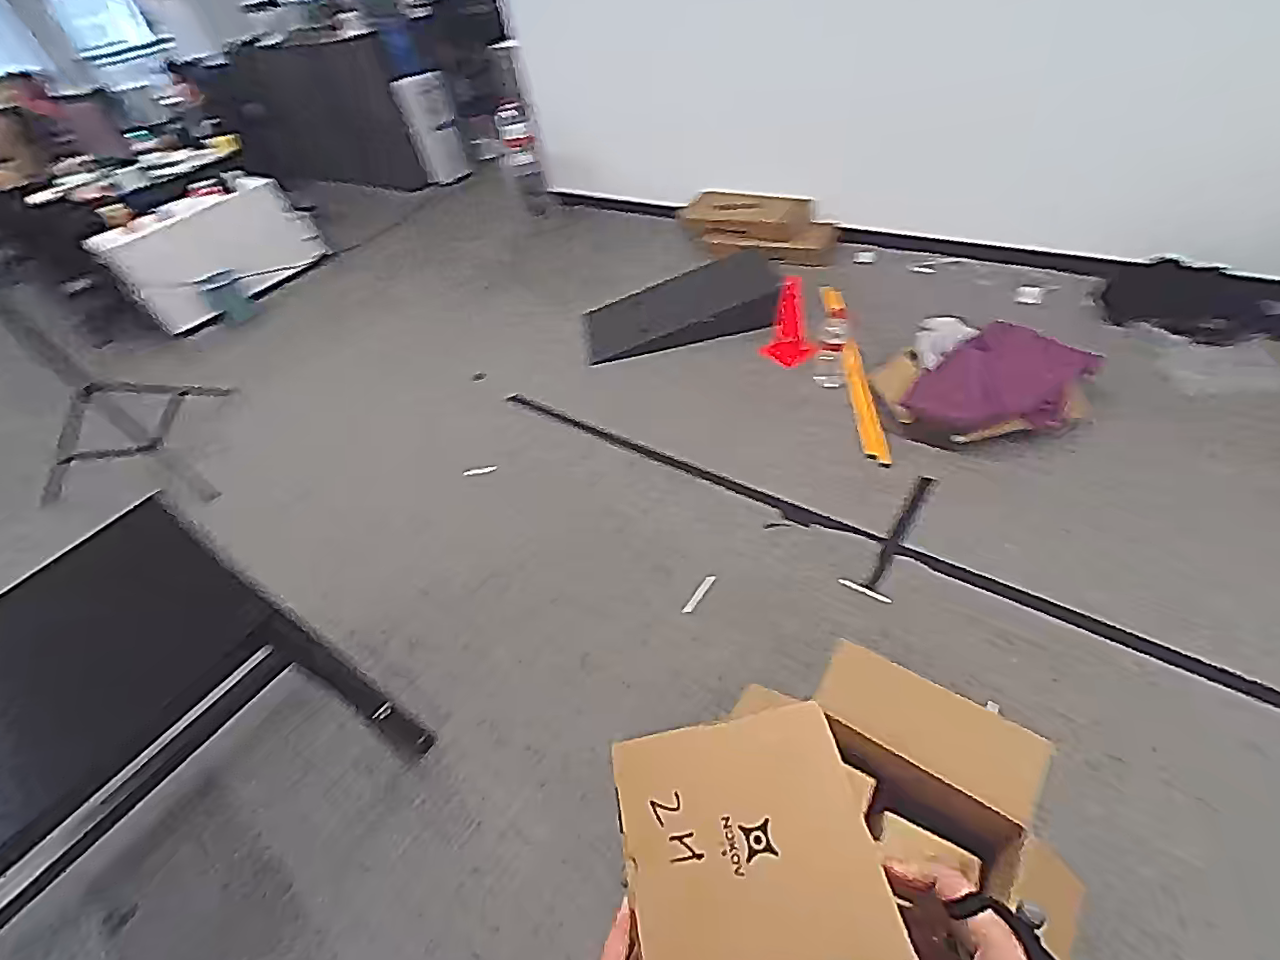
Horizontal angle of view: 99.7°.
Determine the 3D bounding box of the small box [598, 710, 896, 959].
[{"bbox_3d":[0.071,0.313,0.450,0.179,0.176,0.168,-12,52,-4],"label":"small box"}]
